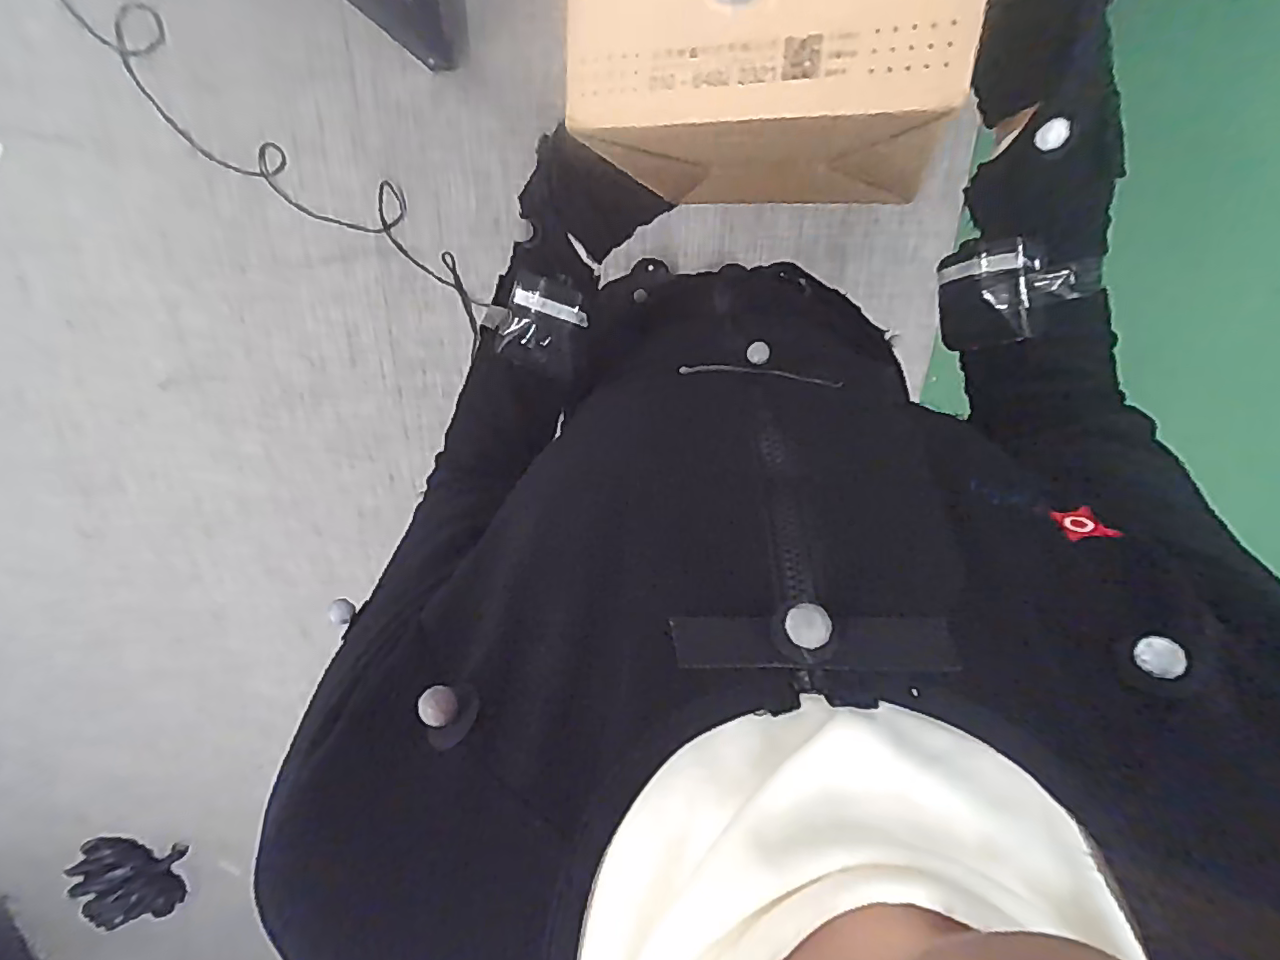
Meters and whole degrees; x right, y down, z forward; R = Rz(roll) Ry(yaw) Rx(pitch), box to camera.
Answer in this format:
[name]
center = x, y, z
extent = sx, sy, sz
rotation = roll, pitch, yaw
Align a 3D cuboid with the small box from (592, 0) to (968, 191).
[small box]
center = 0.078, -0.261, 0.287
extent = 0.168, 0.179, 0.176
rotation = 9, 109, 18
